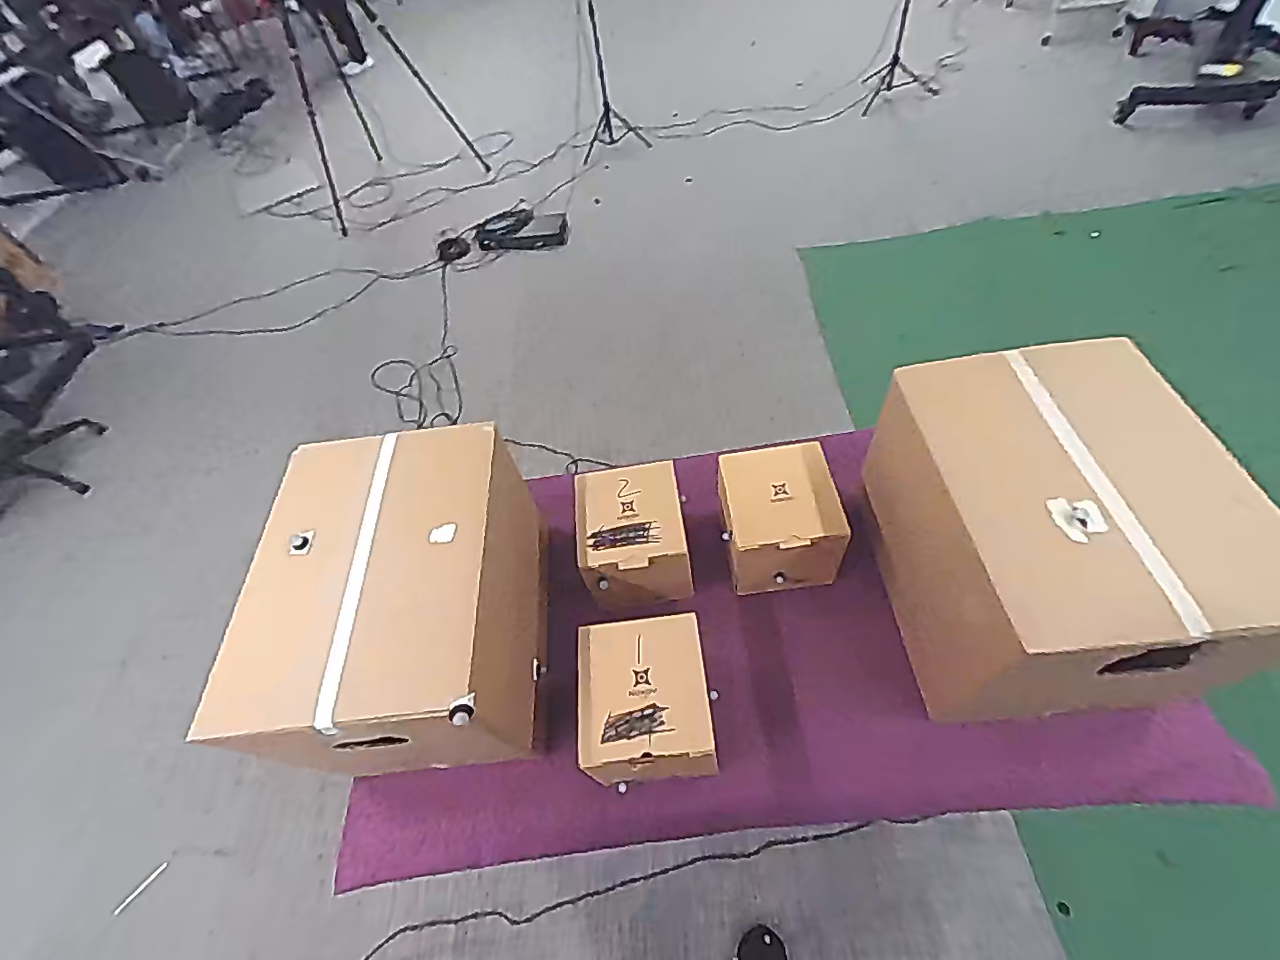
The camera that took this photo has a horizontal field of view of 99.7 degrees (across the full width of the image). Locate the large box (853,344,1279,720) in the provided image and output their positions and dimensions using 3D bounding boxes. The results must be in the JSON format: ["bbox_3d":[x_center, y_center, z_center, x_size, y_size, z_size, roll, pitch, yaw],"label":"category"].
[{"bbox_3d":[0.534,0.077,0.749,0.320,0.320,0.408,-8,55,4],"label":"large box"}]
